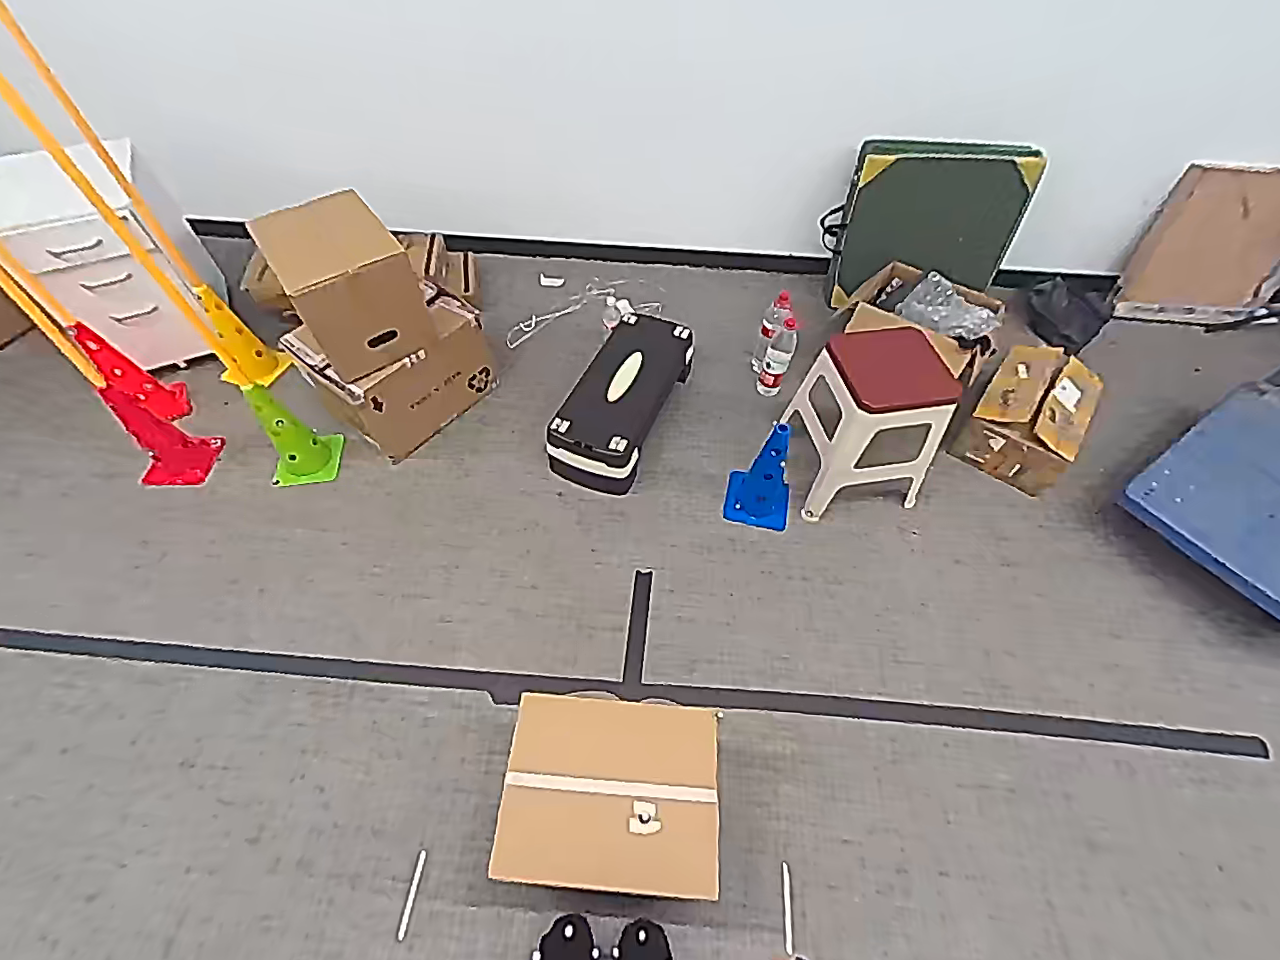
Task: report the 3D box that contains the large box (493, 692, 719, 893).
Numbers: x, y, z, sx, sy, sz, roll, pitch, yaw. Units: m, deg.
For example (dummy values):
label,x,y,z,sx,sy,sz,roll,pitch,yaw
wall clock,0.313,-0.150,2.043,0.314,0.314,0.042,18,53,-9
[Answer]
label,x,y,z,sx,sy,sz,roll,pitch,yaw
large box,-0.059,0.663,1.144,0.408,0.320,0.320,5,55,1
